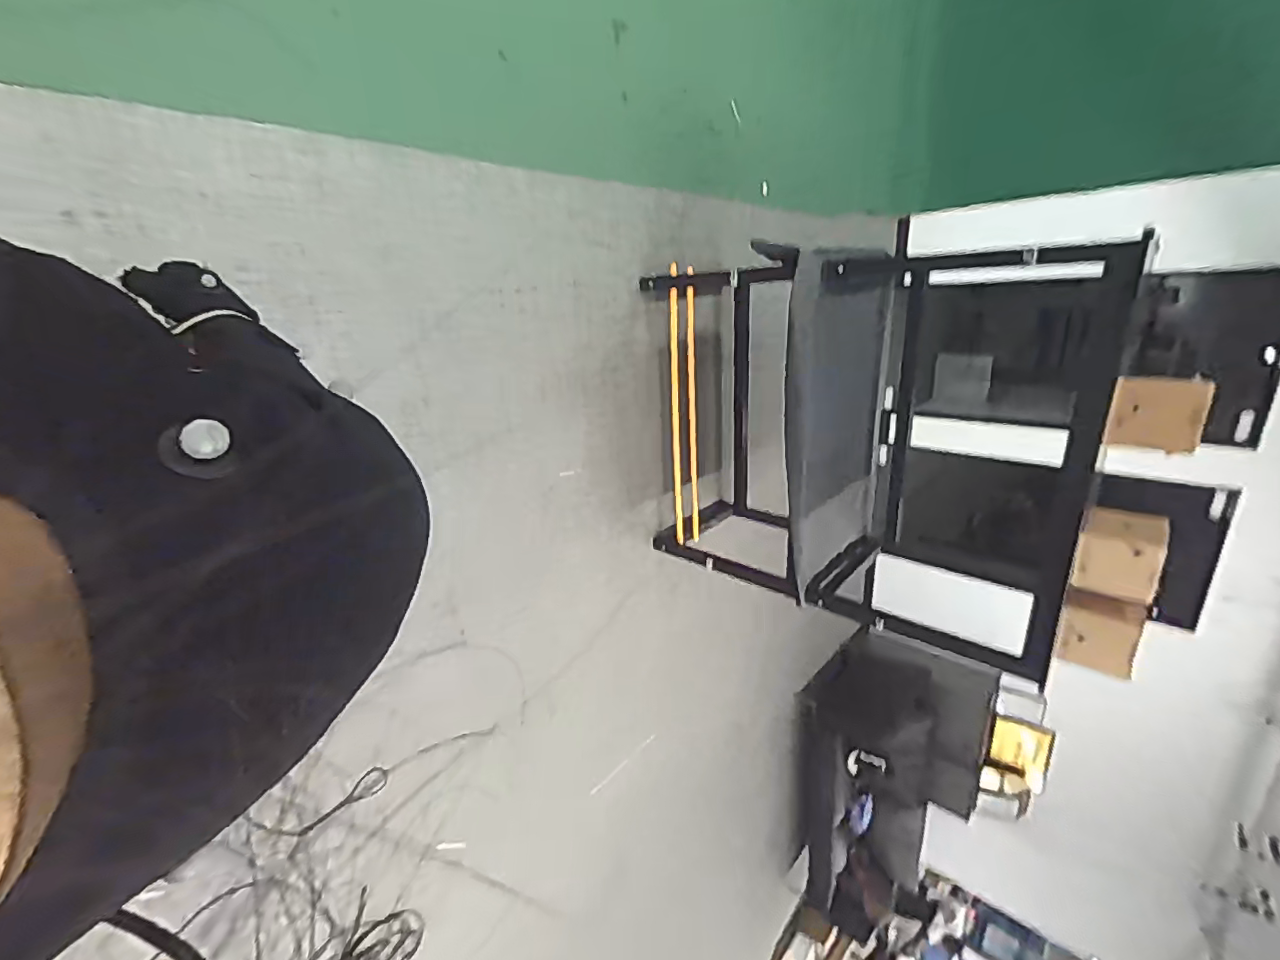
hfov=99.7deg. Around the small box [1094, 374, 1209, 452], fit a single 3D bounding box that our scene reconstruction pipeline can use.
[{"bbox_3d":[1.238,-0.170,1.318,0.179,0.176,0.168,-12,110,-46],"label":"small box"}]
